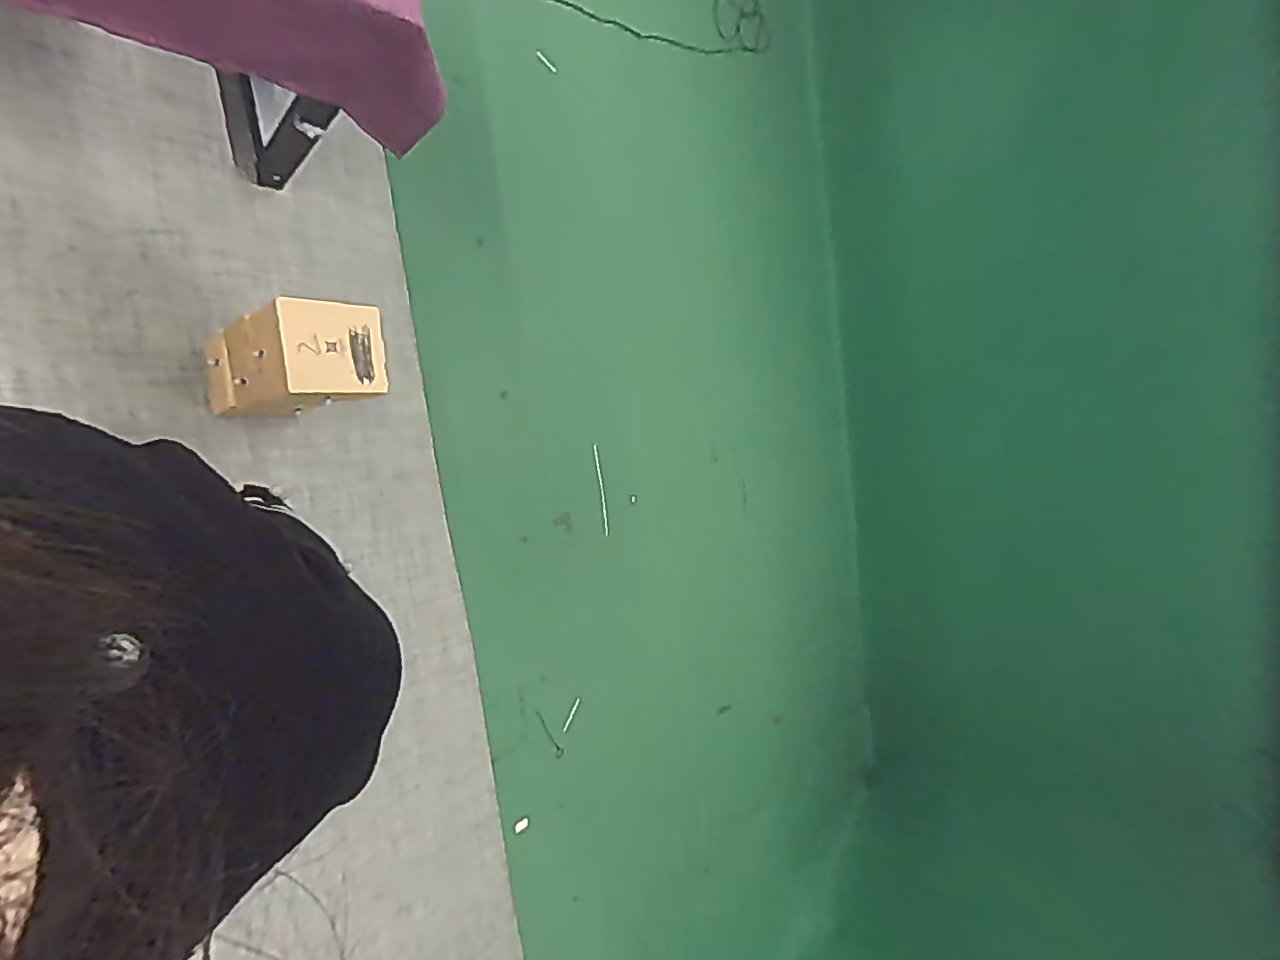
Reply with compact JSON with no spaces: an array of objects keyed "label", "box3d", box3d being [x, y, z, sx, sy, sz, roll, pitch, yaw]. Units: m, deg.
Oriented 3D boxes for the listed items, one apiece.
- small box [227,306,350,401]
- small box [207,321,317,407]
[{"label":"small box","box3d":[-0.747,-0.260,1.145,0.179,0.176,0.168,-13,100,-48]},{"label":"small box","box3d":[-0.874,-0.258,1.247,0.179,0.176,0.168,-9,96,-48]}]
